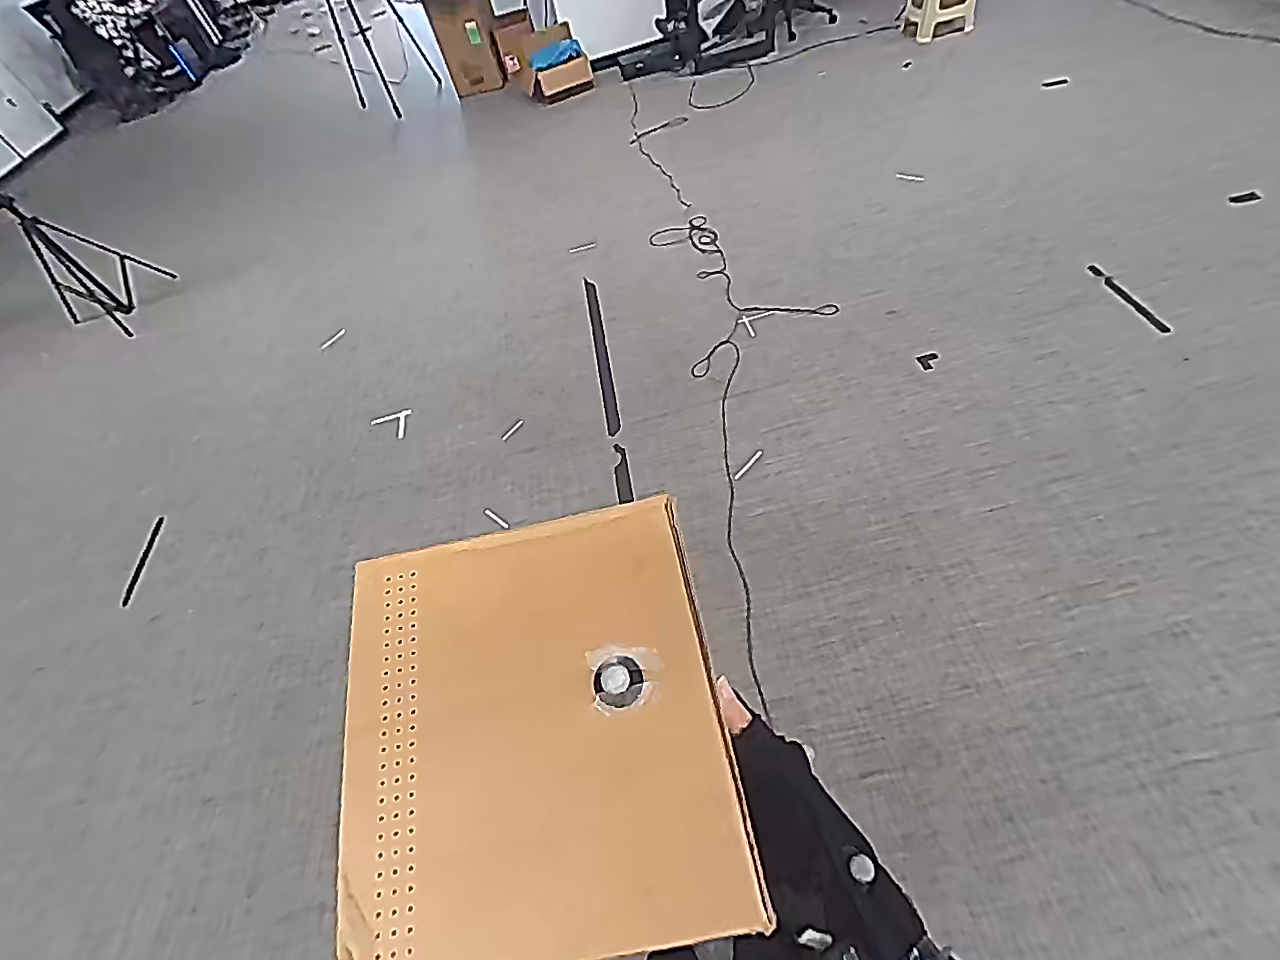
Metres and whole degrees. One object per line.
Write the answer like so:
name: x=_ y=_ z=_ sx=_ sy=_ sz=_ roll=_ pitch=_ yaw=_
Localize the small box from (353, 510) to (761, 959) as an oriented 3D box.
small box: x=-0.040 y=0.143 z=0.315 sx=0.176 sy=0.168 sz=0.179 roll=-13 pitch=62 yaw=3
